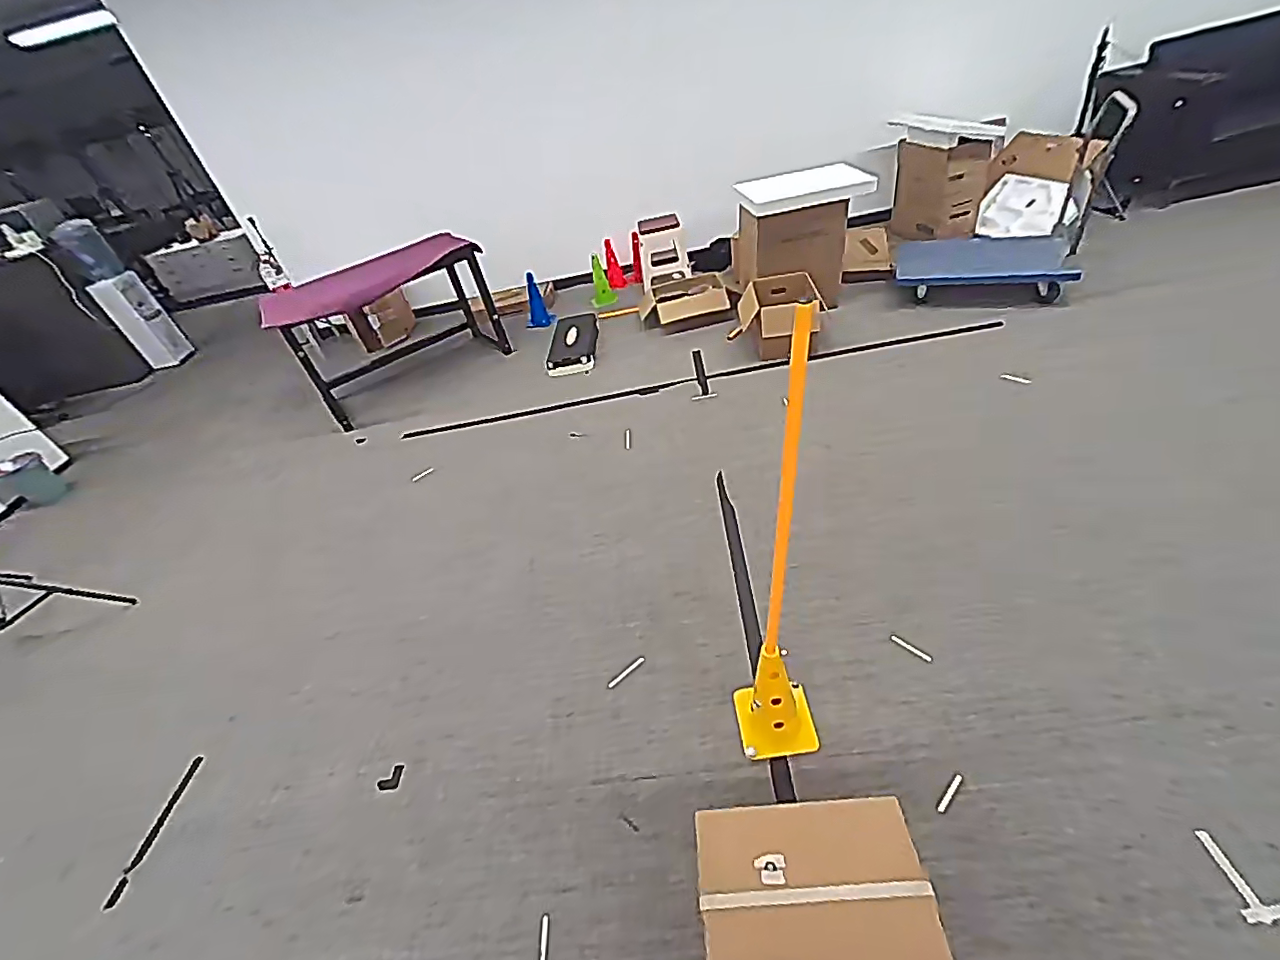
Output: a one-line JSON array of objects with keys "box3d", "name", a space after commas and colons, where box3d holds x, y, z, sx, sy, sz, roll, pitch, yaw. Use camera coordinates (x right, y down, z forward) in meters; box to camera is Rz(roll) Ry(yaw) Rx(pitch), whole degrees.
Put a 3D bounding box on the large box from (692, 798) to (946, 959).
[{"box3d": [0.335, 0.875, 1.070, 0.408, 0.320, 0.320, -9, 37, 6], "name": "large box"}]
